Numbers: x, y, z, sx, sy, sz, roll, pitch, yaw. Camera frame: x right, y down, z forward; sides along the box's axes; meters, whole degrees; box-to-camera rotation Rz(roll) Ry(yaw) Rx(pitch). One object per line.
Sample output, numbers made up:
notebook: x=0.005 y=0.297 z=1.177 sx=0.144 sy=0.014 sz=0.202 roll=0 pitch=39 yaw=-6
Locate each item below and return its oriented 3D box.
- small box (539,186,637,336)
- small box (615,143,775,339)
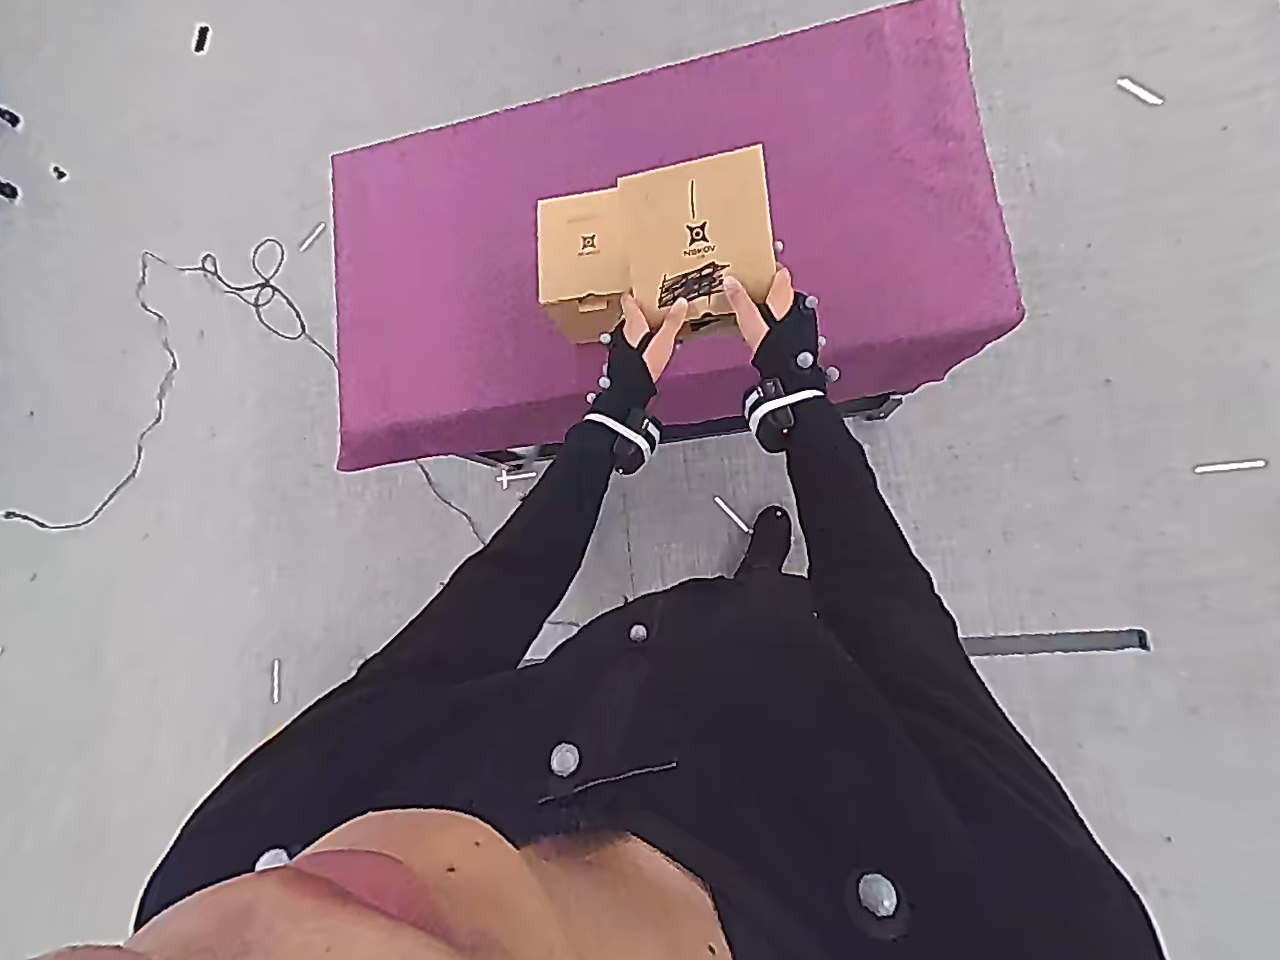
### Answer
small box: x=-0.061 y=-0.353 z=0.902 sx=0.168 sy=0.176 sz=0.179 roll=-4 pitch=82 yaw=10
small box: x=0.076 y=-0.281 z=0.683 sx=0.168 sy=0.176 sz=0.179 roll=-7 pitch=96 yaw=11
